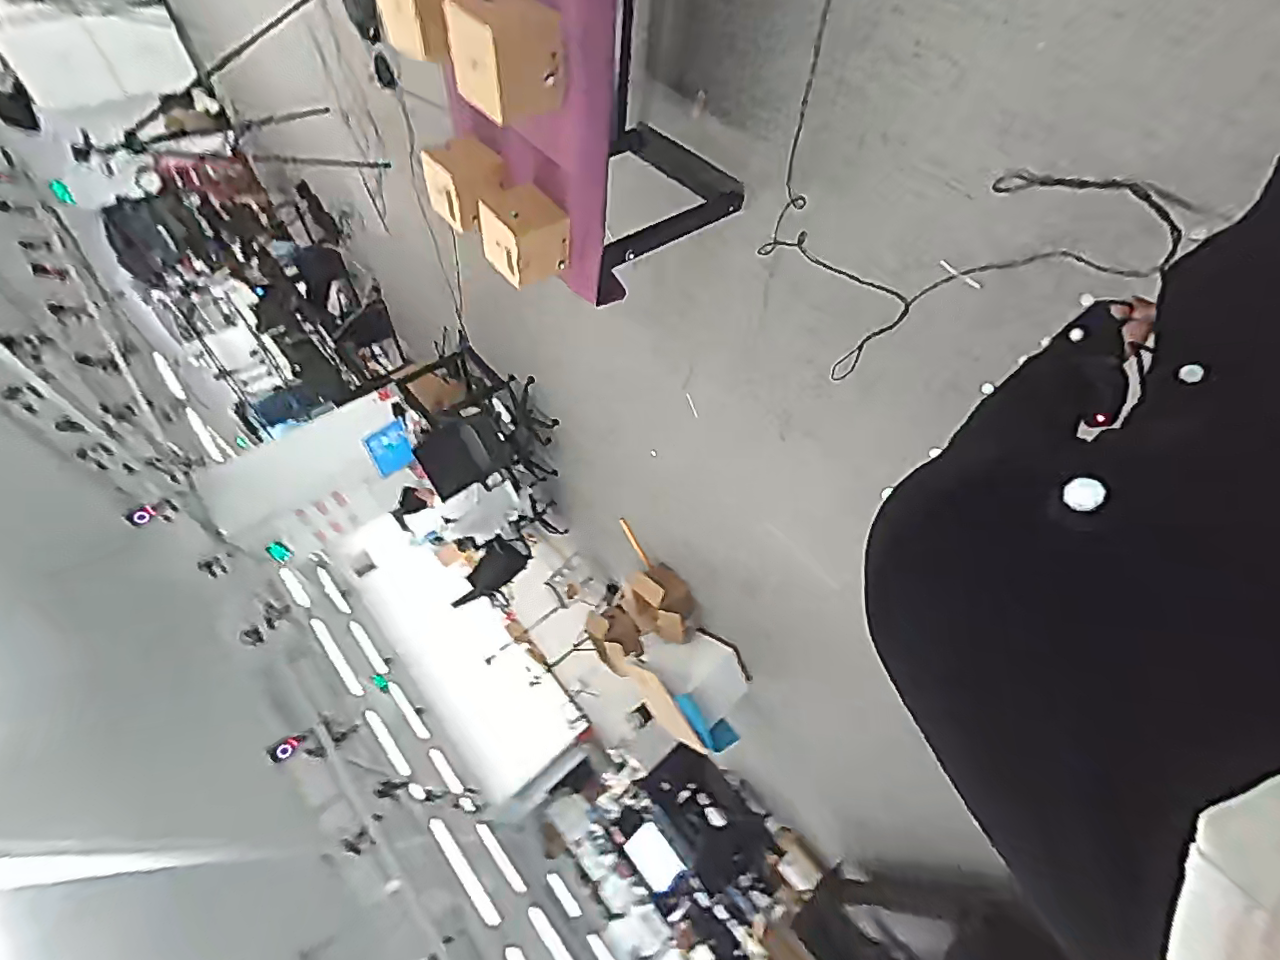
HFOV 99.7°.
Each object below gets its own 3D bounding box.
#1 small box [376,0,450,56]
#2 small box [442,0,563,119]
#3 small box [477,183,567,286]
[{"bbox_3d":[-0.485,-1.097,1.226,0.179,0.176,0.168,41,151,24],"label":"small box"},{"bbox_3d":[-0.278,-0.890,1.119,0.179,0.176,0.168,46,154,20],"label":"small box"},{"bbox_3d":[-0.309,-0.662,1.446,0.179,0.176,0.168,48,153,19],"label":"small box"}]
